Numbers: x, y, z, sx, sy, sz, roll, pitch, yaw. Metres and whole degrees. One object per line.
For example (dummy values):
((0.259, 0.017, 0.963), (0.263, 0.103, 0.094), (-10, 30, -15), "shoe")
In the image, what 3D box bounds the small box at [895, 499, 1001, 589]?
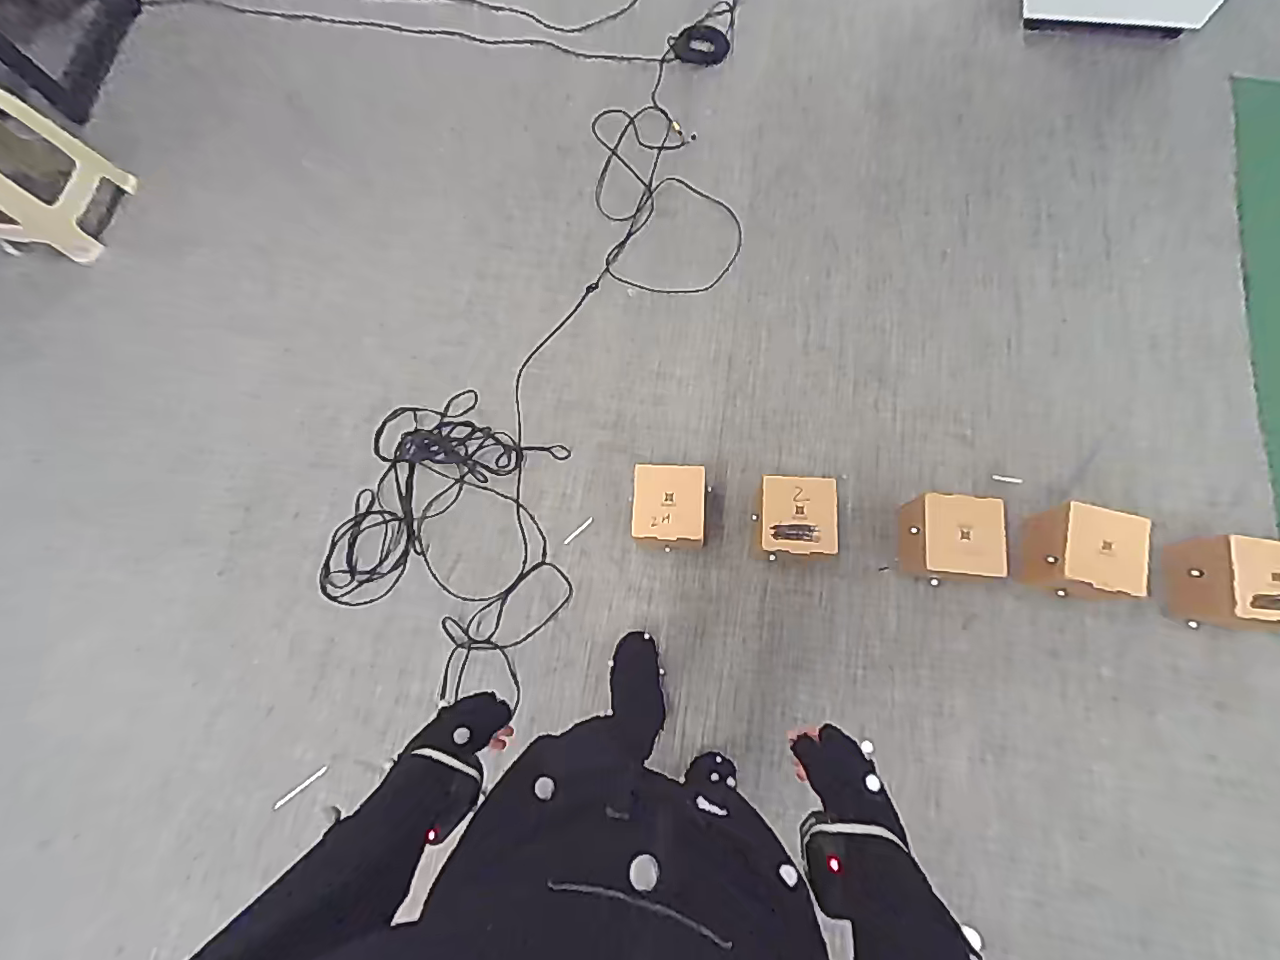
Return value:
((0.707, 0.153, 1.259), (0.168, 0.176, 0.179), (5, 76, 7), "small box")

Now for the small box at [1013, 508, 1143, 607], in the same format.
((0.990, 0.182, 1.234), (0.168, 0.176, 0.179), (14, 76, 7), "small box")

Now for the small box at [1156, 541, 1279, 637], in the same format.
((1.300, 0.246, 1.196), (0.168, 0.176, 0.179), (10, 74, 6), "small box")

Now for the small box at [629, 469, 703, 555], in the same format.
((0.066, 0.082, 1.320), (0.168, 0.176, 0.179), (2, 74, 5), "small box")
